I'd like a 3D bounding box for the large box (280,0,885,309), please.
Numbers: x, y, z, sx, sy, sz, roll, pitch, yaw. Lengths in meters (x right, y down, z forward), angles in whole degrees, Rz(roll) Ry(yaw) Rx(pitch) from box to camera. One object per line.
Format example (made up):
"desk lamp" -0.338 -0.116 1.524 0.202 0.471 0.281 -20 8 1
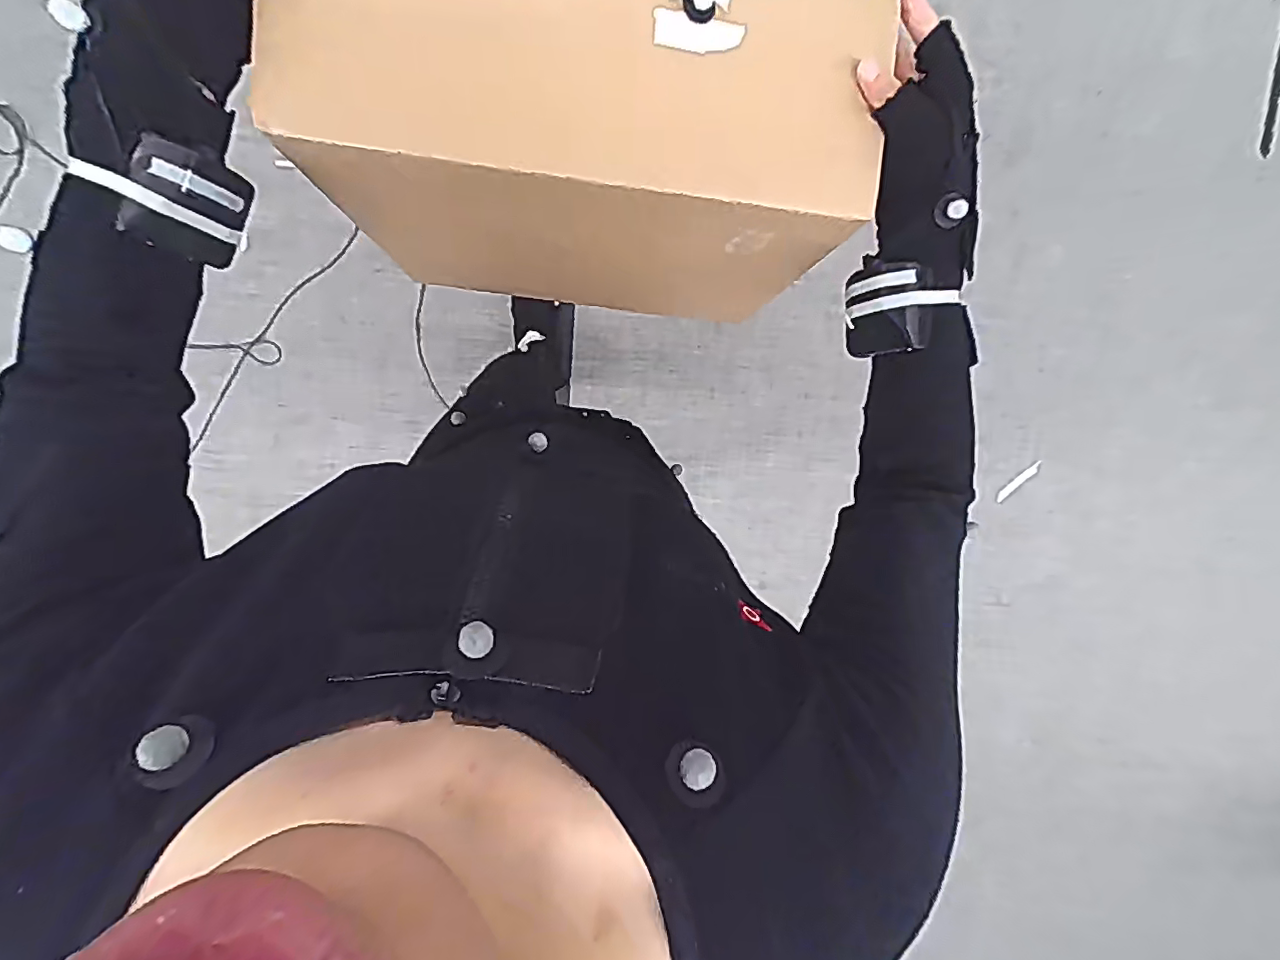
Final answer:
"large box" -0.040 -0.371 0.507 0.408 0.320 0.320 5 93 -7
